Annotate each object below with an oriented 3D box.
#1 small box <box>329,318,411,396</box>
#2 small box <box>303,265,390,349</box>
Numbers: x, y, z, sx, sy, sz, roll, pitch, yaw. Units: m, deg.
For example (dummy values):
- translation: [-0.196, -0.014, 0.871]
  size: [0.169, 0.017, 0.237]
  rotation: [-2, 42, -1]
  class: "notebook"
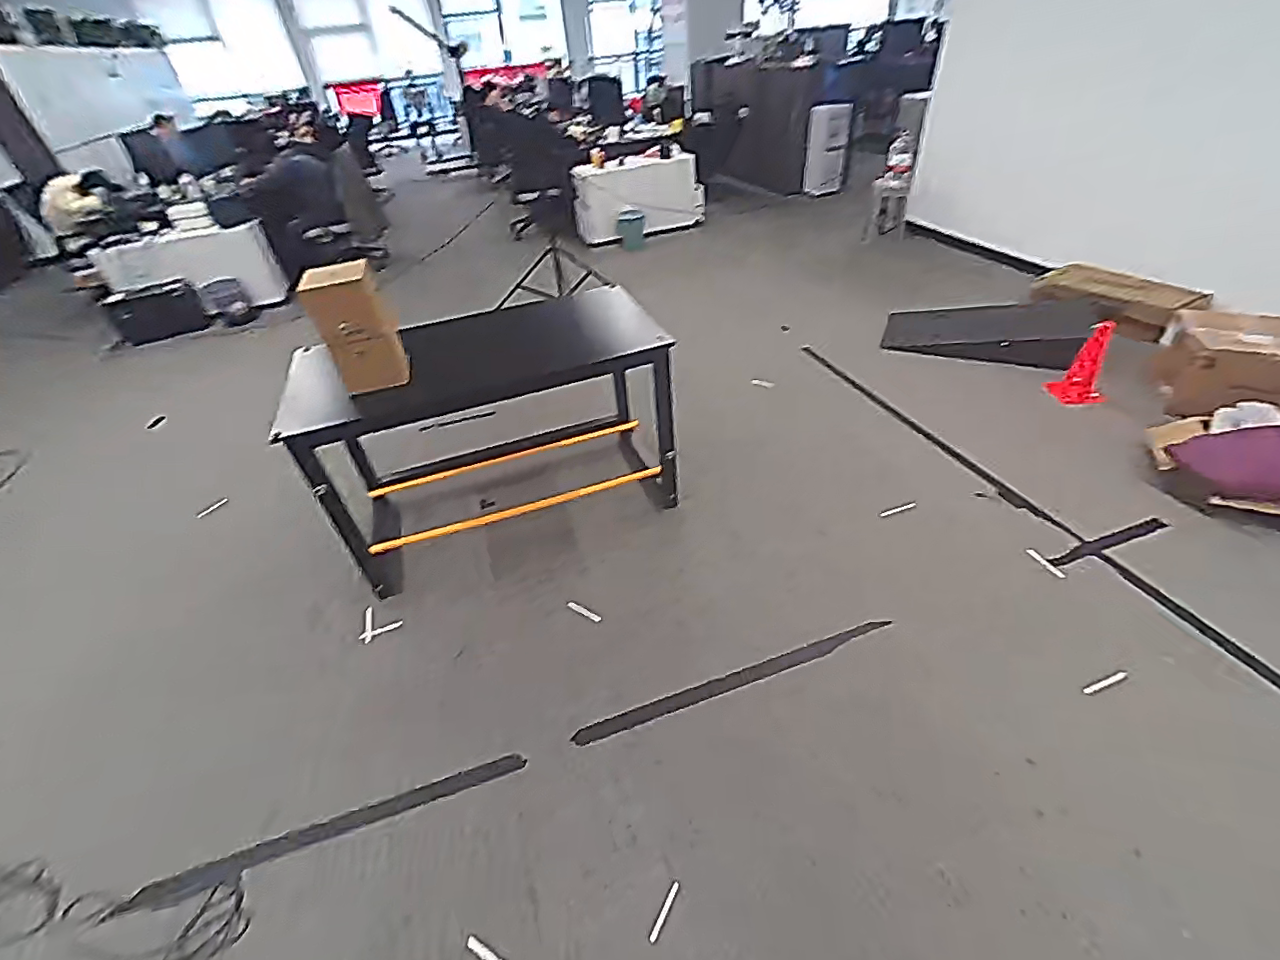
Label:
- translation: [-0.826, -0.378, 1.672]
  size: [0.179, 0.176, 0.168]
  rotation: [-15, 40, -12]
  class: "small box"
- translation: [-0.841, -0.501, 1.567]
  size: [0.168, 0.176, 0.179]
  rotation: [-17, 42, -11]
  class: "small box"
